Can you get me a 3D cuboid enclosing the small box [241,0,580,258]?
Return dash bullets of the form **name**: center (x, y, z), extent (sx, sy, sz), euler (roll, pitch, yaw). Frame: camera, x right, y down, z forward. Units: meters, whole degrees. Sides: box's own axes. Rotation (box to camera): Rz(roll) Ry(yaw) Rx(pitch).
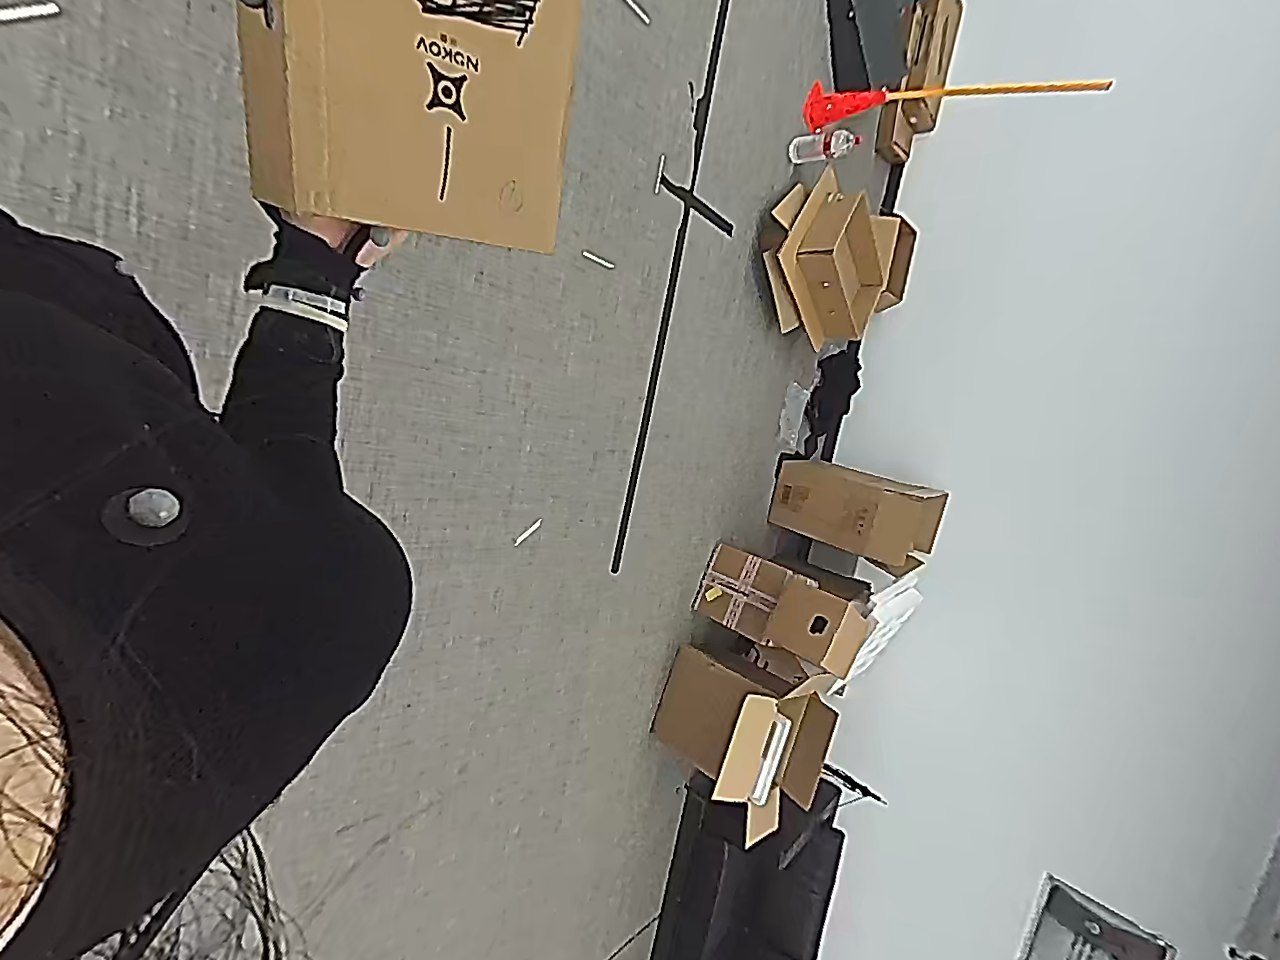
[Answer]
- **small box**: center (-0.164, -0.268, 0.376), extent (0.168, 0.176, 0.179), euler (-9, 120, -40)
